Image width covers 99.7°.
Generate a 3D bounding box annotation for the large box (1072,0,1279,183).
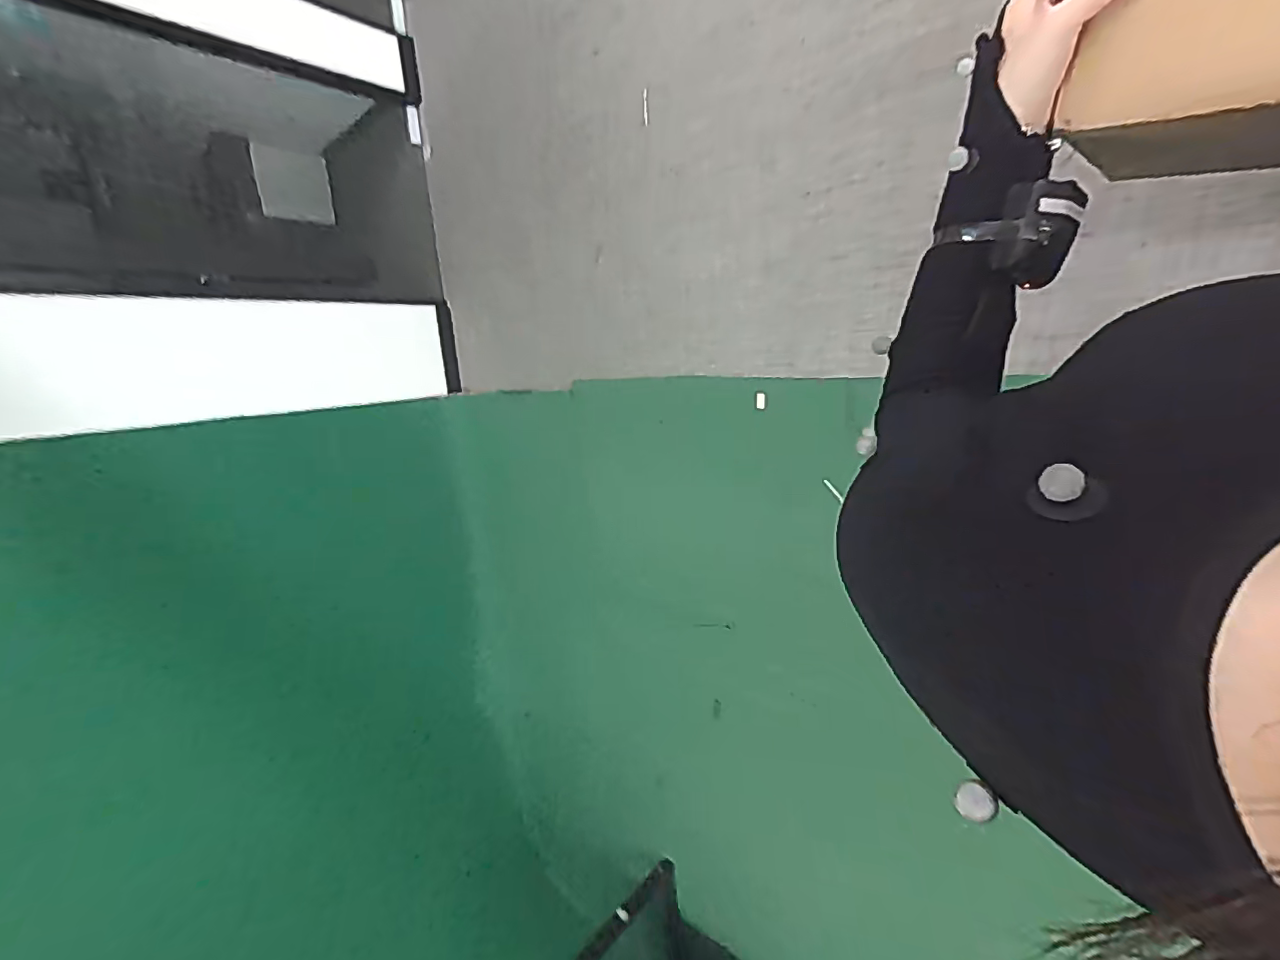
[{"bbox_3d":[0.547,-0.387,0.310,0.408,0.320,0.320,17,117,41],"label":"large box"}]
